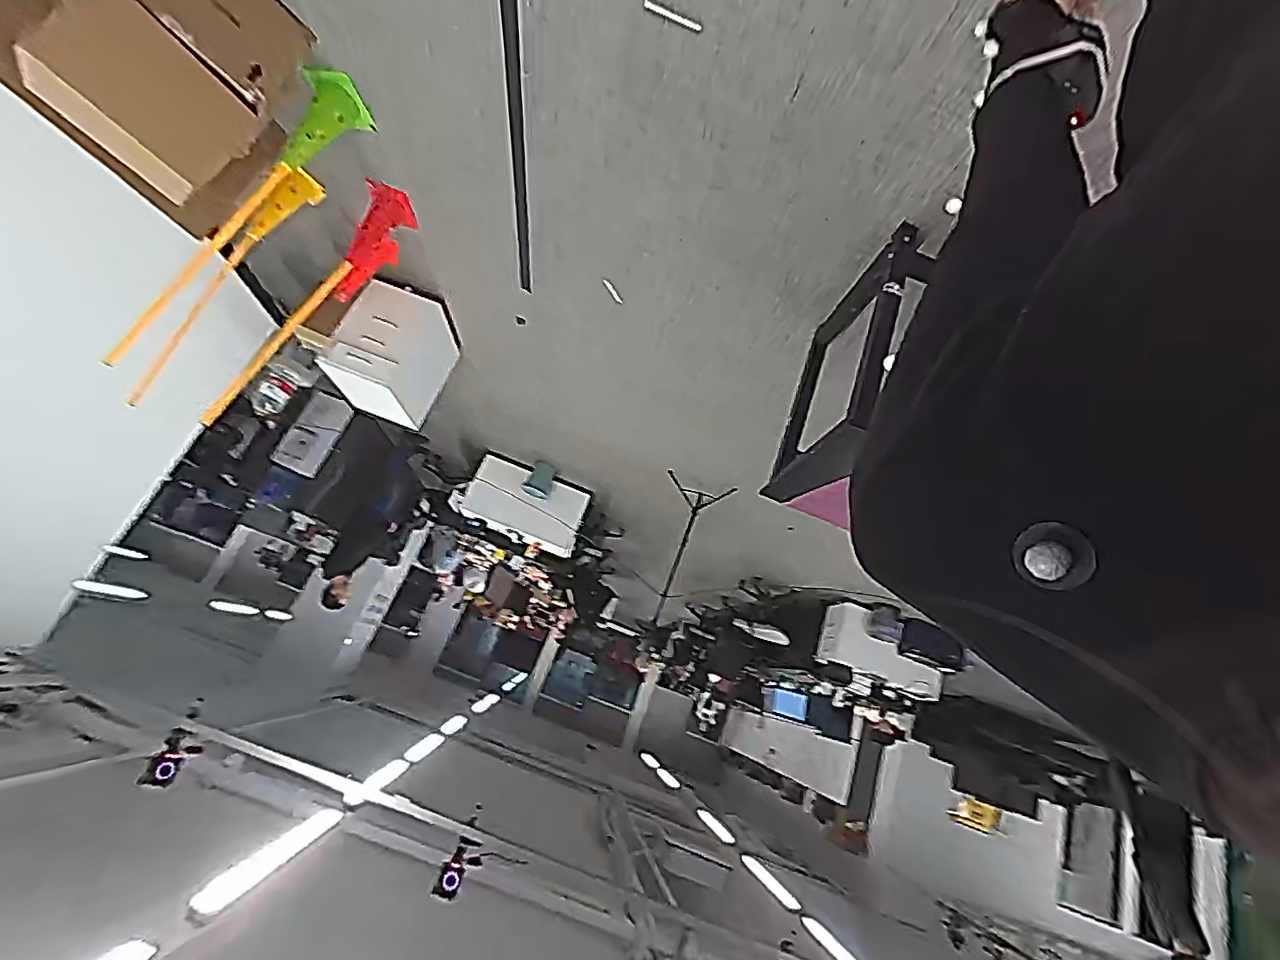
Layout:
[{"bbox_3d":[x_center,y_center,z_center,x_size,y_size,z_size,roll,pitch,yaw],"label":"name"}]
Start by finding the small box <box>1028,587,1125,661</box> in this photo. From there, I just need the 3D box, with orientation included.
[{"bbox_3d":[1.356,0.445,1.676,0.168,0.176,0.179,23,159,-4],"label":"small box"}]
